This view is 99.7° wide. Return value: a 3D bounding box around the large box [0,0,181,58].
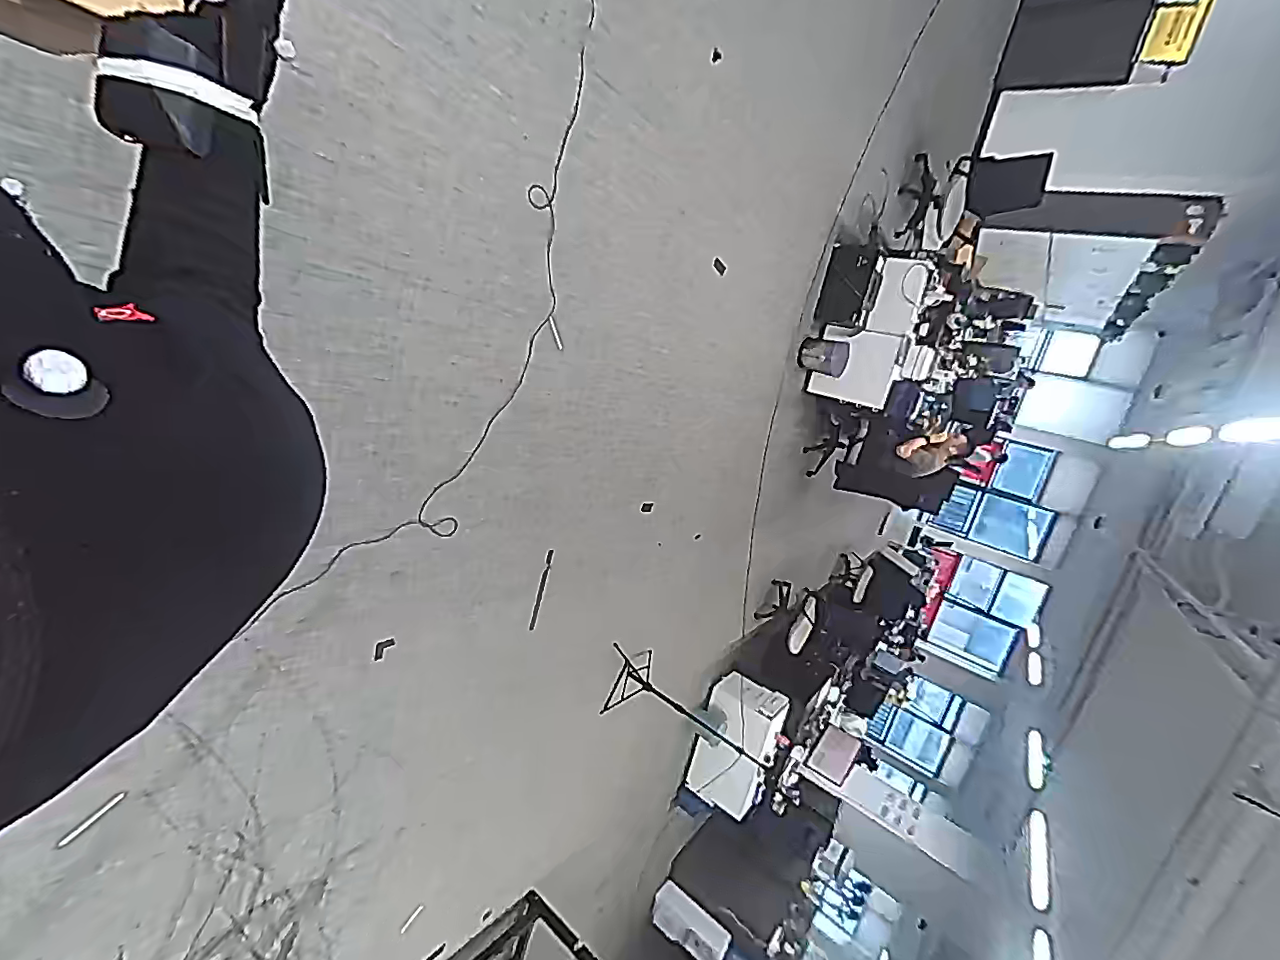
[{"bbox_3d":[-0.497,-0.456,0.226,0.408,0.320,0.320,-9,120,-57],"label":"large box"}]
